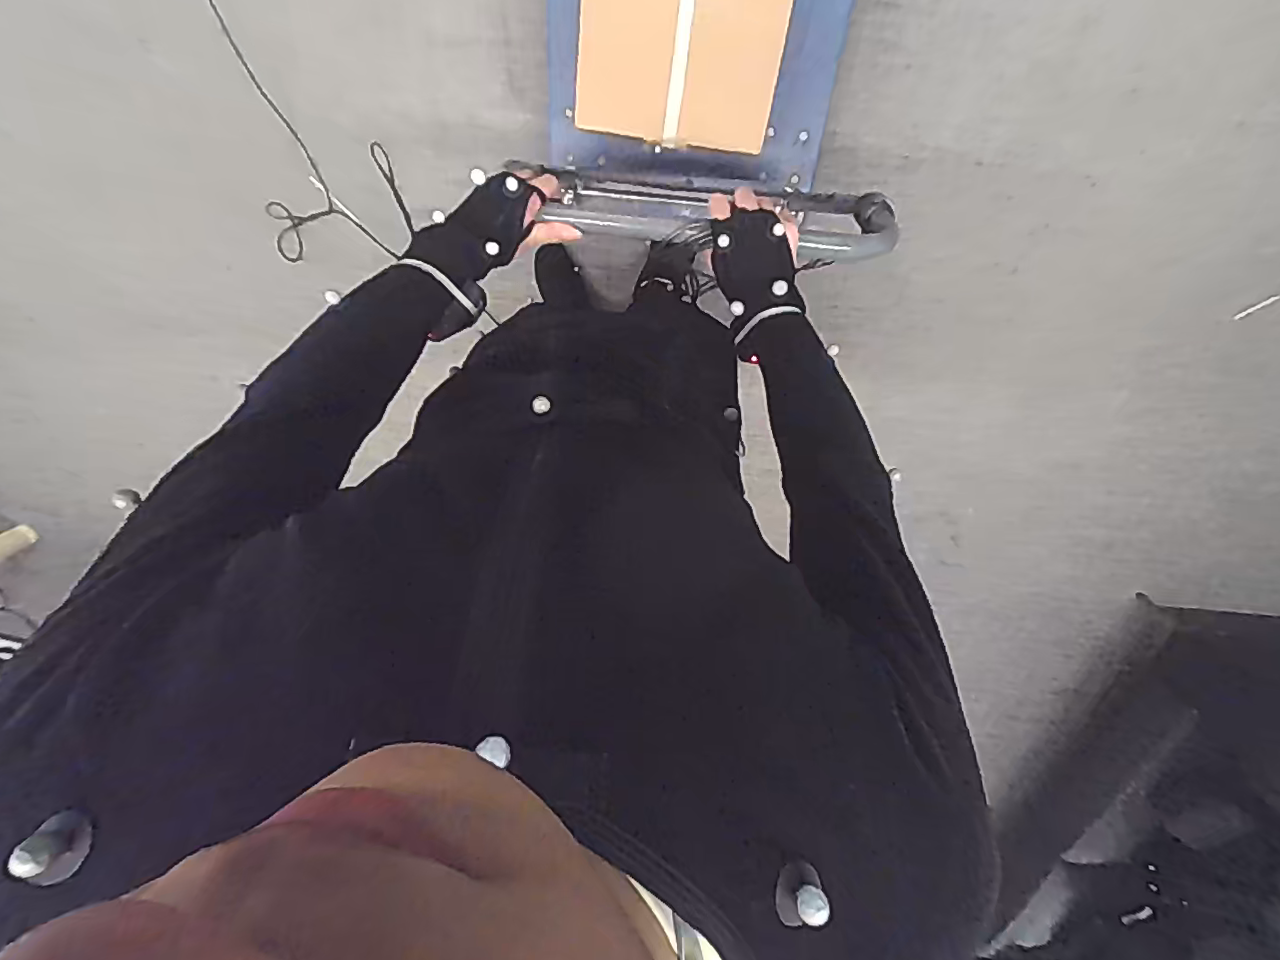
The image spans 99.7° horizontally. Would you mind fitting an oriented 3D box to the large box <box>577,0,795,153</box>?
[{"bbox_3d":[0.083,-0.796,0.902,0.320,0.320,0.408,8,121,-2],"label":"large box"}]
